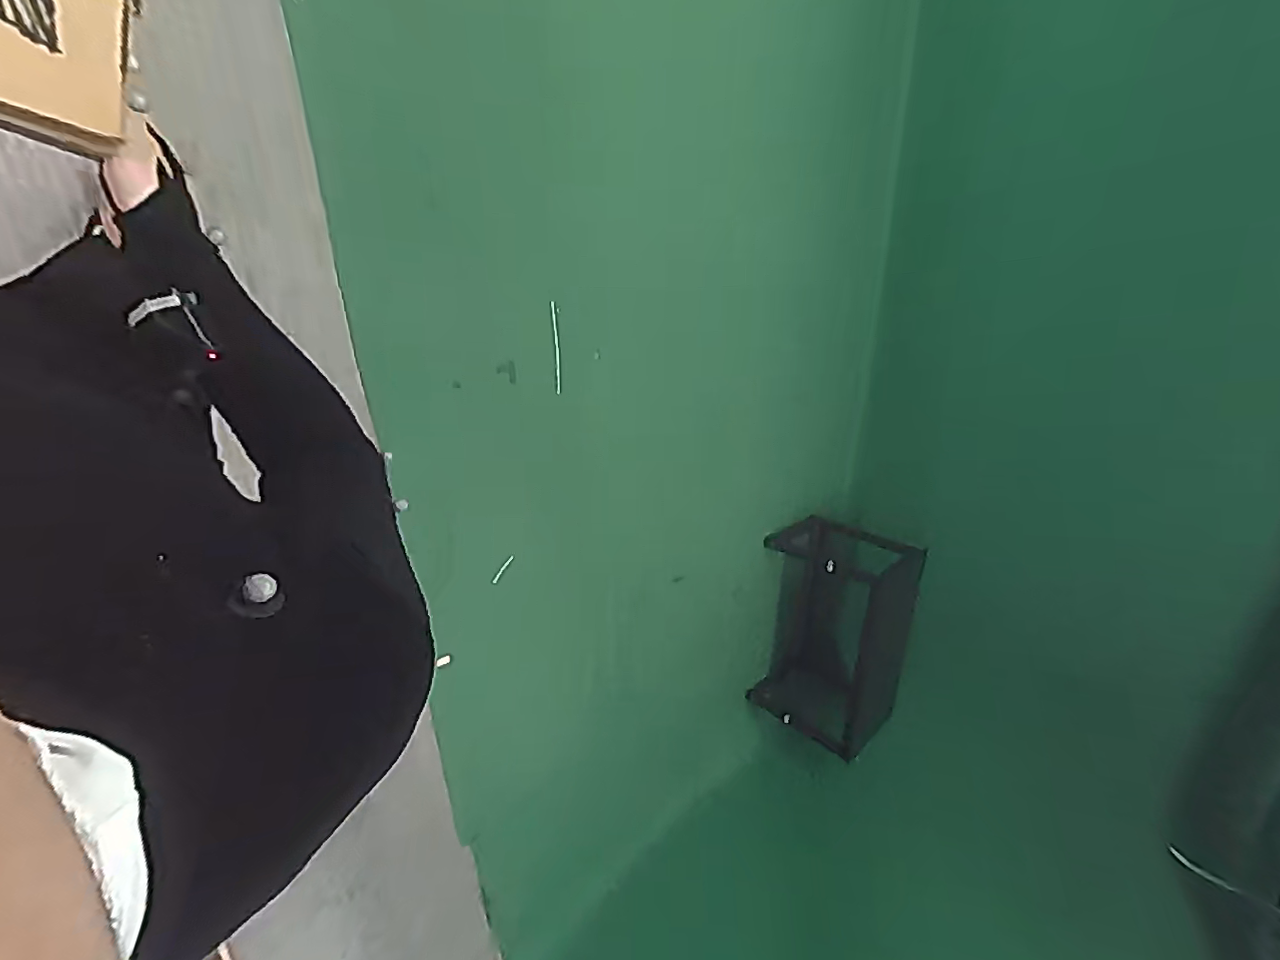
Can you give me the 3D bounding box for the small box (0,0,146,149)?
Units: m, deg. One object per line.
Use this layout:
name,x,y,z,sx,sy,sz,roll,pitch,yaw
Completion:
small box,-0.338,-0.270,0.234,0.179,0.176,0.168,1,112,-46
